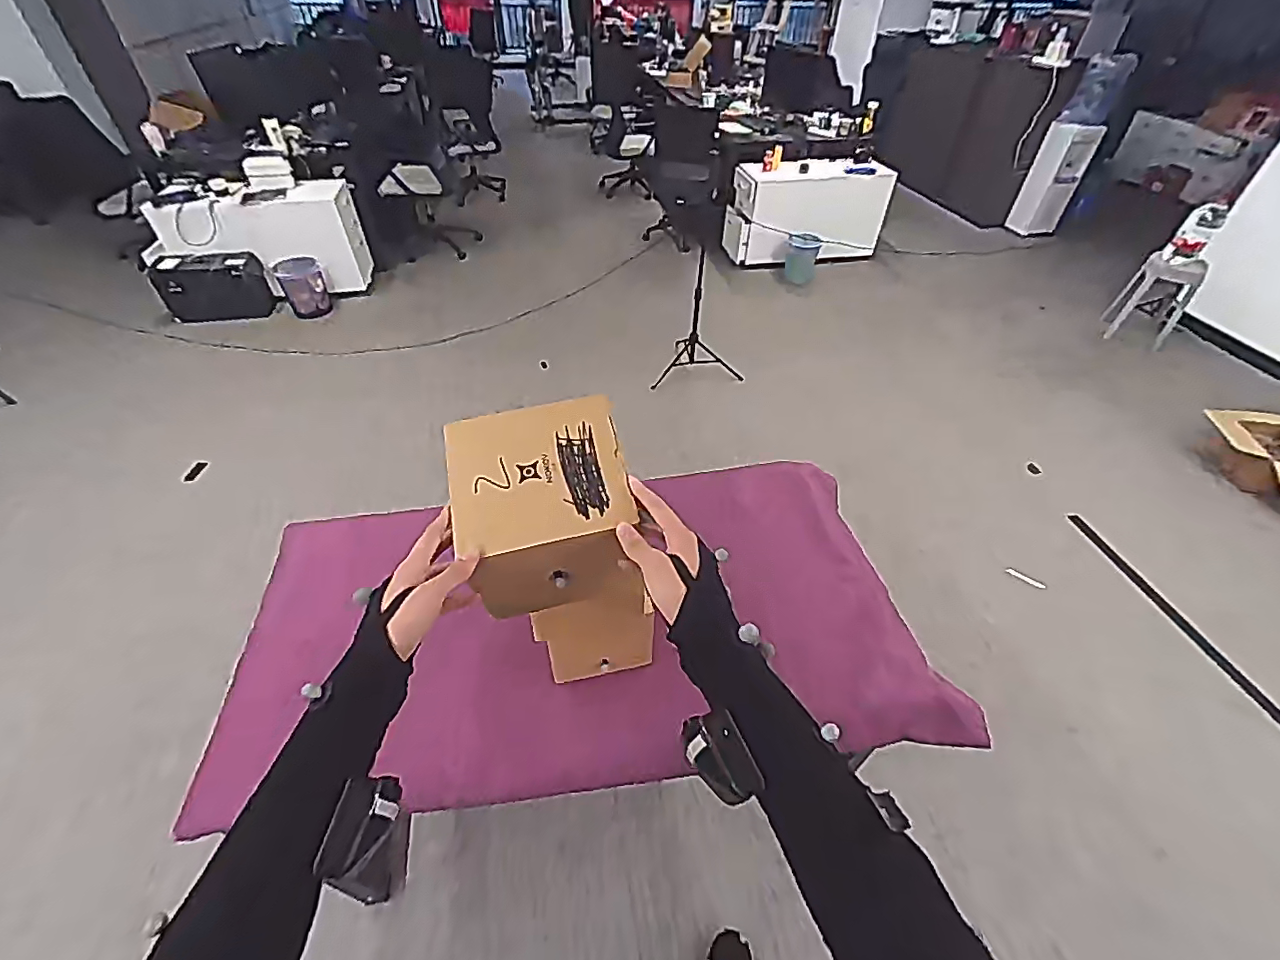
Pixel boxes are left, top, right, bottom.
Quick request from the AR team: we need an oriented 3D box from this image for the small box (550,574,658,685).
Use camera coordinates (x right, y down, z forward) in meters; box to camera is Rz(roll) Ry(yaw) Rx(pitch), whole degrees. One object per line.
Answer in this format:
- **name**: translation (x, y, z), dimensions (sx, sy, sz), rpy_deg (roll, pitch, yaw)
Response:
- **small box**: translation (-0.075, 0.237, 0.958), dimensions (0.179, 0.176, 0.168), rpy_deg (-8, 43, -10)

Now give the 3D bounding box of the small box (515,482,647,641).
- **small box**: translation (-0.090, 0.128, 0.836), dimensions (0.179, 0.176, 0.168), rpy_deg (-8, 44, -10)
